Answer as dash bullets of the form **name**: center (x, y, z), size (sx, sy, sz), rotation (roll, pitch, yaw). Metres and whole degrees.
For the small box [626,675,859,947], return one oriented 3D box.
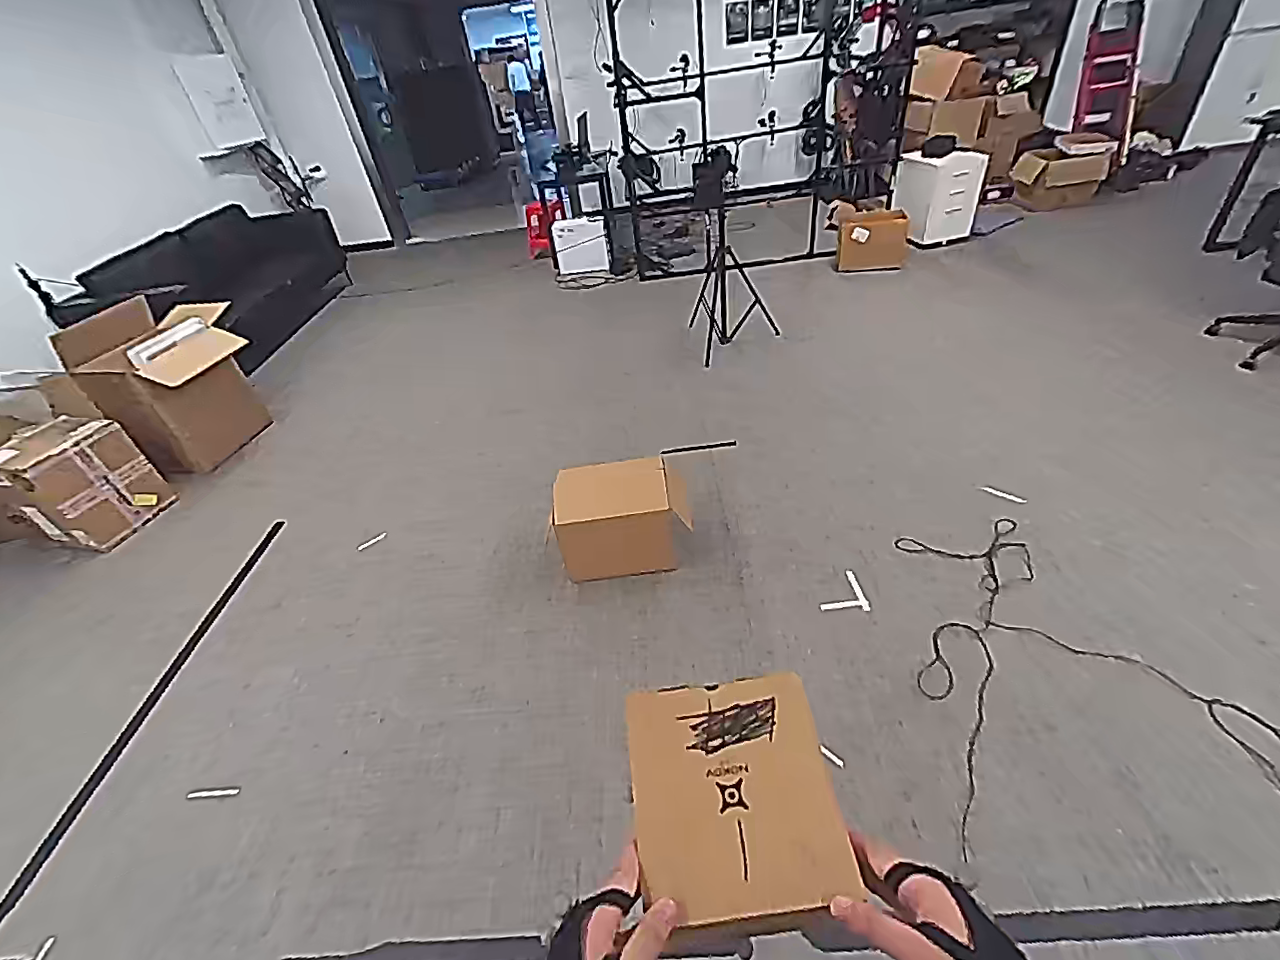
- **small box**: center (0.079, 0.311, 0.511), size (0.168, 0.176, 0.179), rotation (-8, 46, 0)
